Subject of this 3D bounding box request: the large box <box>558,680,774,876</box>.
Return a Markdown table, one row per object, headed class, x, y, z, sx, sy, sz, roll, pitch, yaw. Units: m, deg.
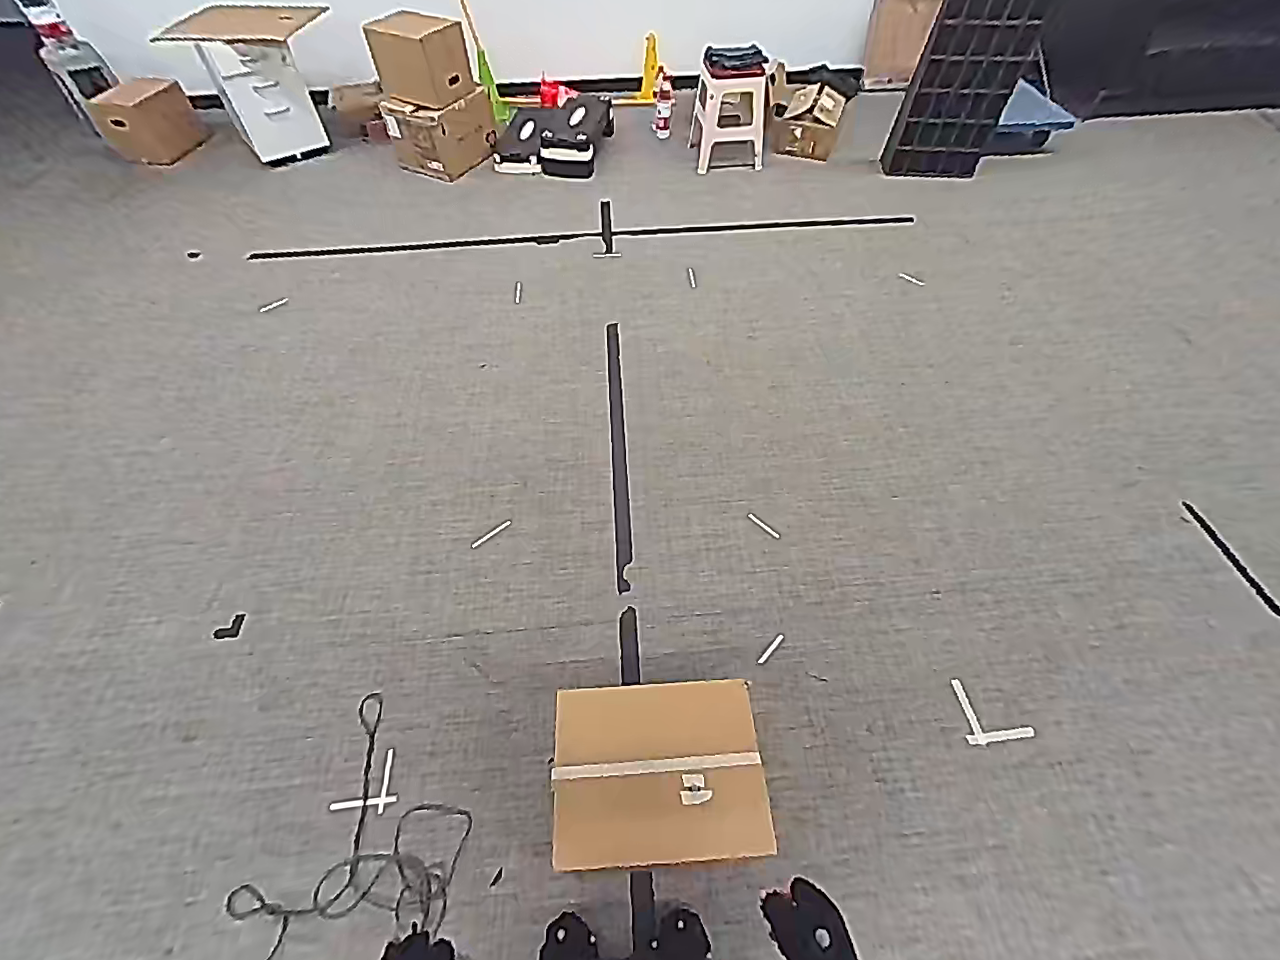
| class | x | y | z | sx | sy | sz | roll | pitch | yaw |
| --- | --- | --- | --- | --- | --- | --- | --- | --- | --- |
| large box | 0.037 | 0.655 | 1.185 | 0.408 | 0.320 | 0.320 | -3 | 53 | -2 |
